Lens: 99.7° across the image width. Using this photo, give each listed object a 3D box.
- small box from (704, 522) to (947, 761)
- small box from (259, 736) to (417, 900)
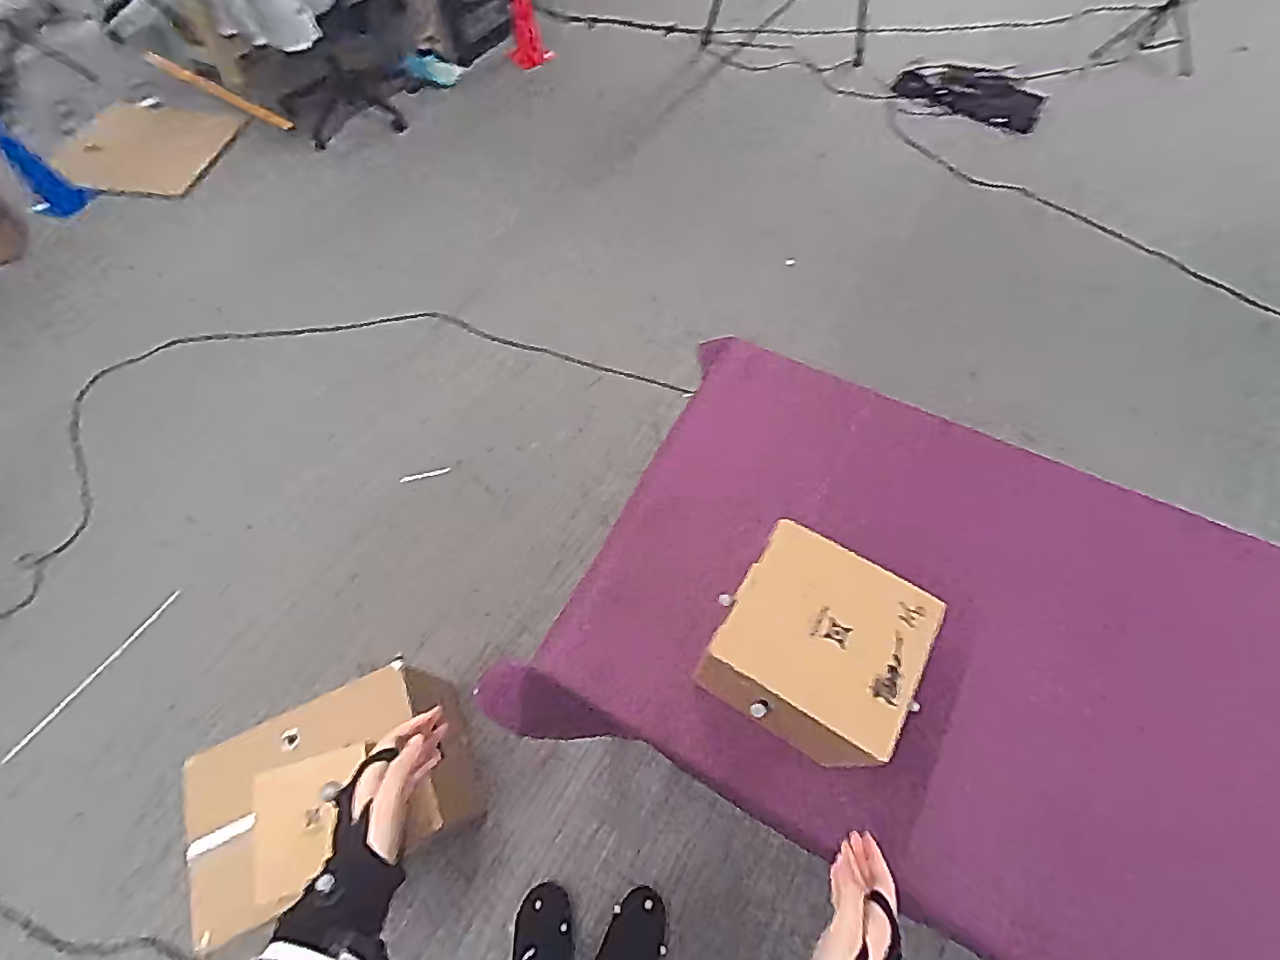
[{"bbox_3d":[0.181,0.180,0.581,0.179,0.176,0.168,29,66,17],"label":"small box"},{"bbox_3d":[-0.479,0.531,0.874,0.168,0.176,0.179,-15,67,-7],"label":"small box"}]
